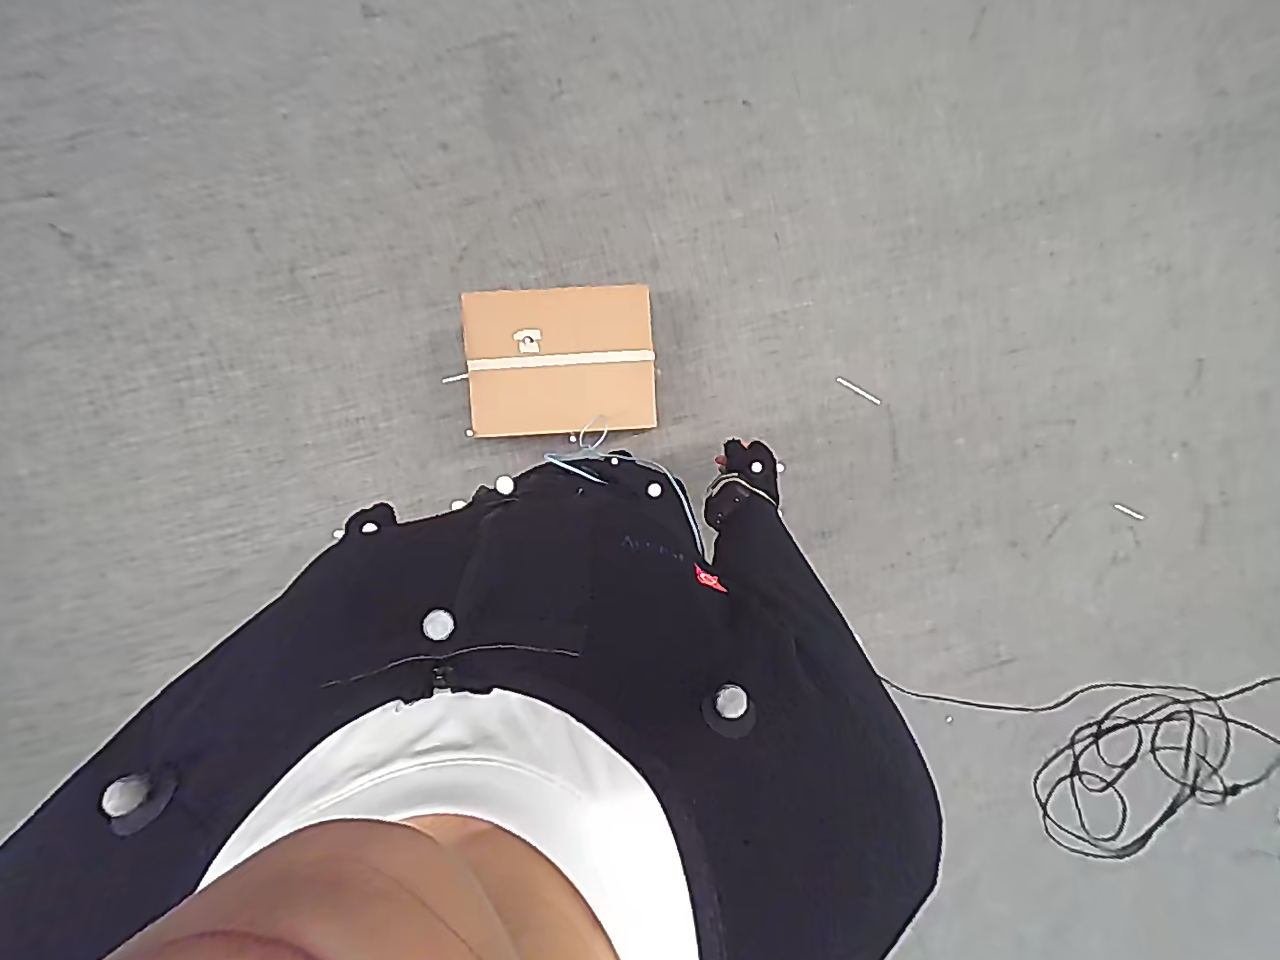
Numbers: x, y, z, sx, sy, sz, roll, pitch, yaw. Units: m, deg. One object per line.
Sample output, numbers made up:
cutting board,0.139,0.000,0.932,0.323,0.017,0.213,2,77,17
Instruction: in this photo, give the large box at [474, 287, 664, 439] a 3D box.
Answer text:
large box,-0.157,-0.270,1.340,0.408,0.320,0.320,-3,94,-1
